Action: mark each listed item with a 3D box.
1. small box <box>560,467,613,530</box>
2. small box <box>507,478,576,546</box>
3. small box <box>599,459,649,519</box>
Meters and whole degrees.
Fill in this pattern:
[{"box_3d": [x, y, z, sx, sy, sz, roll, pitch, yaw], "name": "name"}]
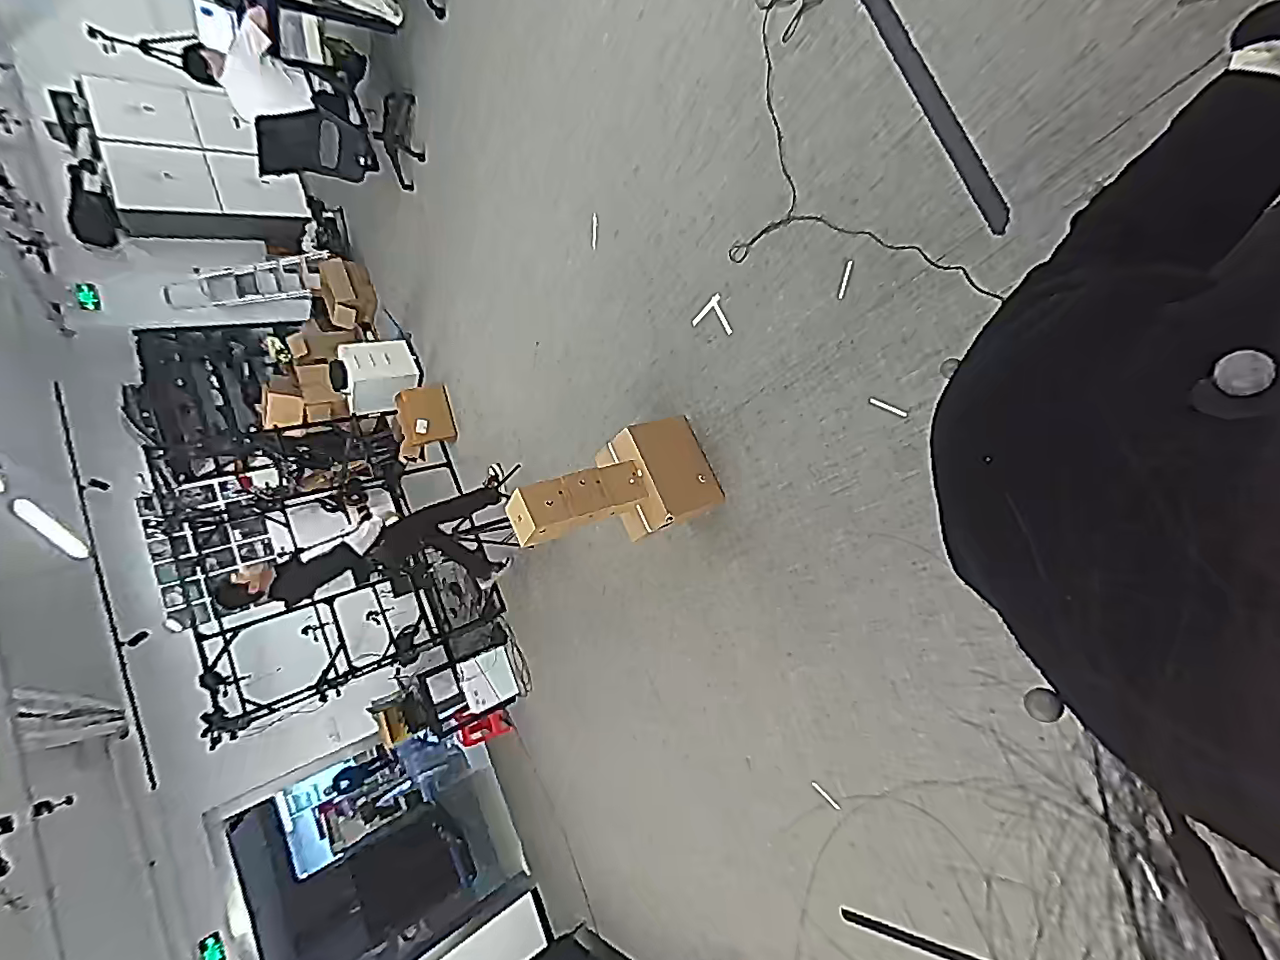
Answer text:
[{"box_3d": [-0.220, 0.067, 2.031, 0.179, 0.176, 0.168, -43, 68, 52], "name": "small box"}, {"box_3d": [-0.349, 0.110, 1.938, 0.168, 0.176, 0.179, 63, 143, 17], "name": "small box"}, {"box_3d": [-0.094, 0.035, 2.129, 0.179, 0.176, 0.168, -40, 72, 52], "name": "small box"}]
